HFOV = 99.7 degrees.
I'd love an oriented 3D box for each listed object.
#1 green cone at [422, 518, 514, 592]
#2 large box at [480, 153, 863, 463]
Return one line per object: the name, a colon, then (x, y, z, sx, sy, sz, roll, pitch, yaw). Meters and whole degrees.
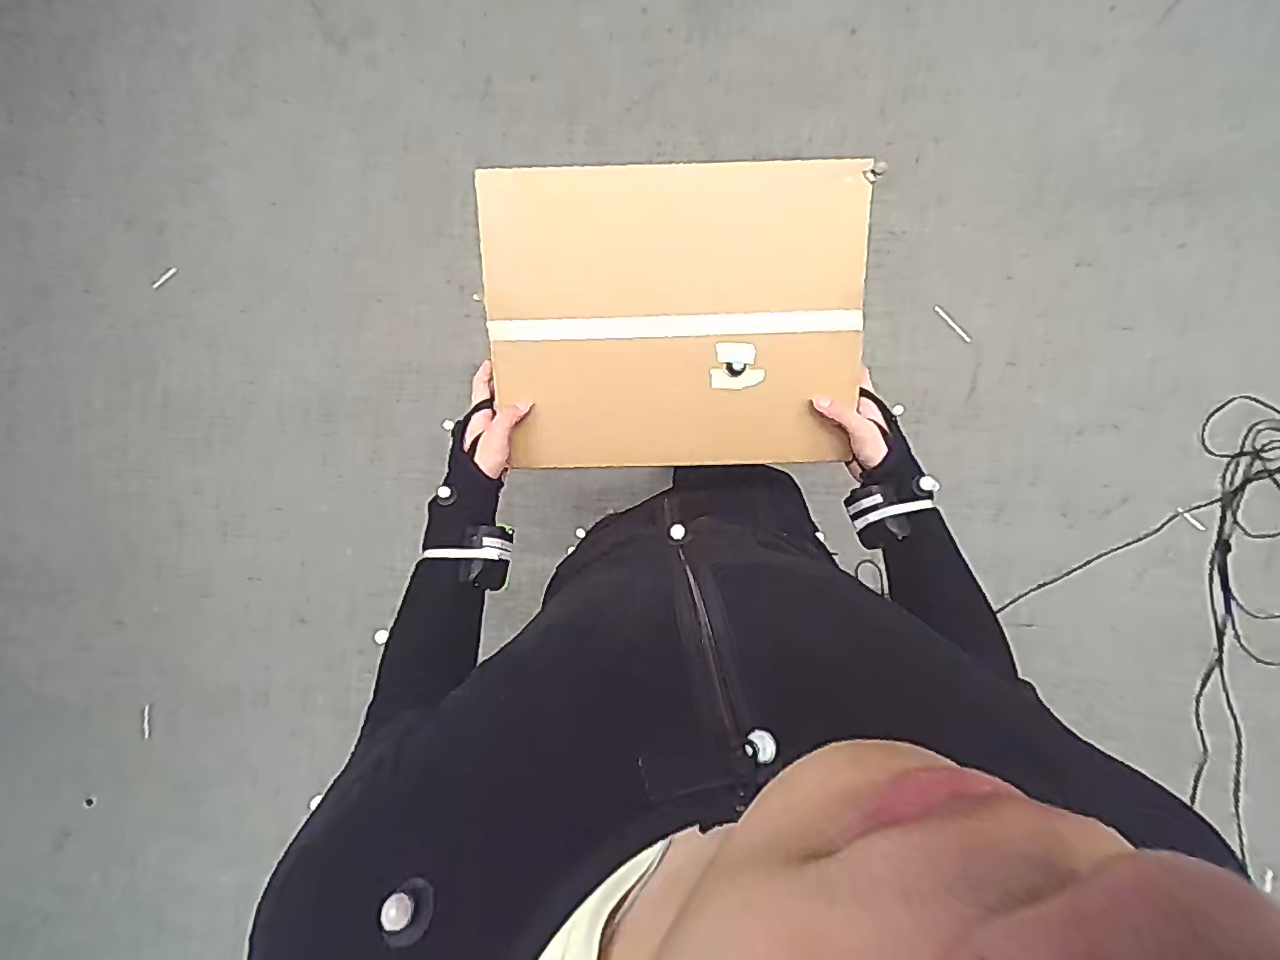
green cone: (-0.502, 0.235, 1.483, 0.200, 0.368, 0.202, 8, 94, 2)
large box: (0.036, -0.213, 0.736, 0.408, 0.320, 0.320, -2, 105, 0)
